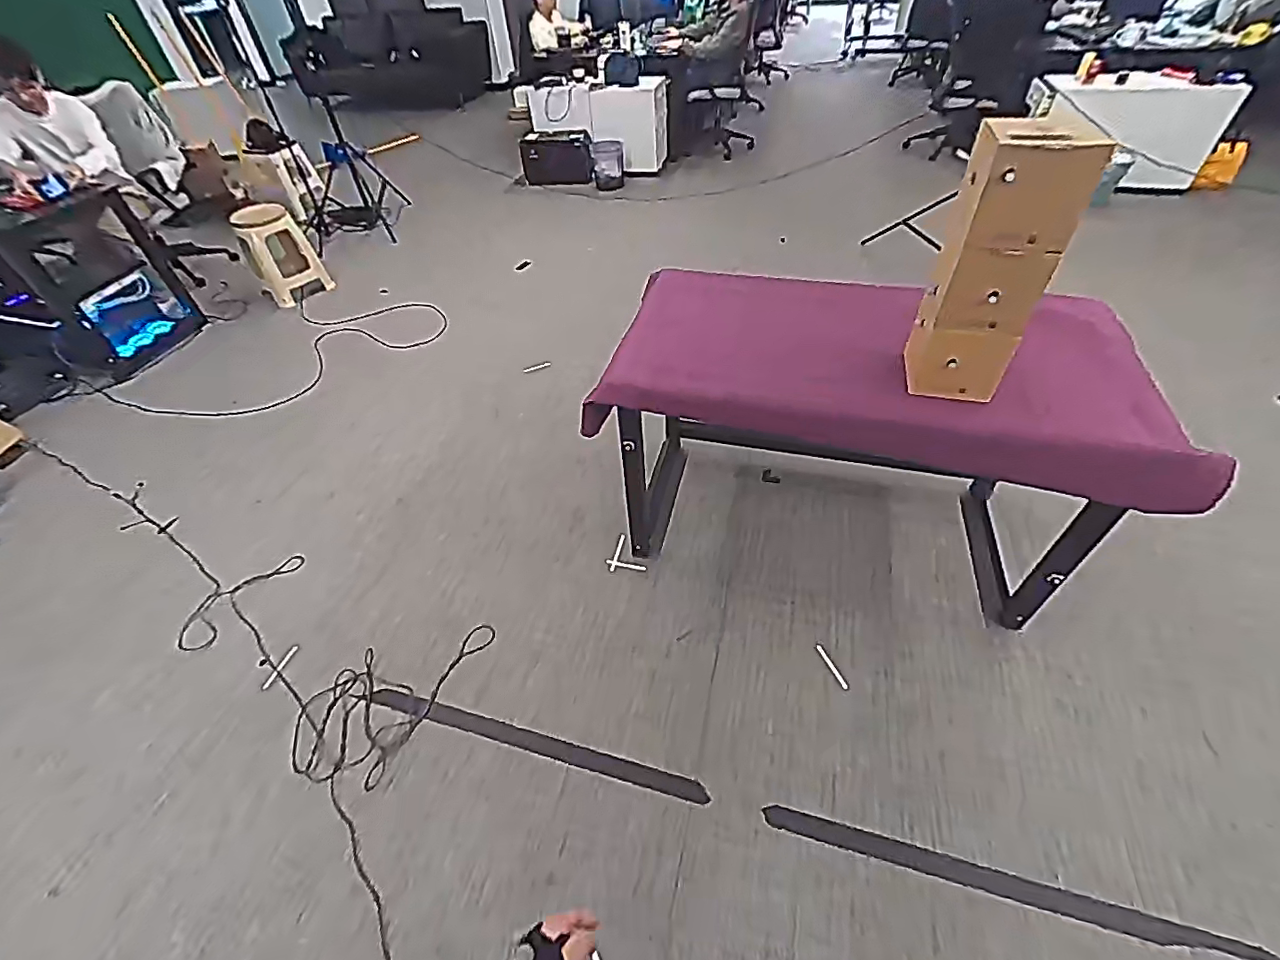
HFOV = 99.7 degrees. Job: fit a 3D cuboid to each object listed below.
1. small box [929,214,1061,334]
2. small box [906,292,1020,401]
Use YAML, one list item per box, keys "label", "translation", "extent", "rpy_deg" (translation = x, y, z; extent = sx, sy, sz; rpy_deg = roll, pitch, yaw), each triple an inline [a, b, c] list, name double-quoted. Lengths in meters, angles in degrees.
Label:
- label: "small box"
  translation: [0.696, -0.411, 1.082]
  extent: [0.168, 0.176, 0.179]
  rpy_deg: [10, 48, 14]
- label: "small box"
  translation: [0.703, -0.295, 1.197]
  extent: [0.168, 0.176, 0.179]
  rpy_deg: [9, 47, 13]
